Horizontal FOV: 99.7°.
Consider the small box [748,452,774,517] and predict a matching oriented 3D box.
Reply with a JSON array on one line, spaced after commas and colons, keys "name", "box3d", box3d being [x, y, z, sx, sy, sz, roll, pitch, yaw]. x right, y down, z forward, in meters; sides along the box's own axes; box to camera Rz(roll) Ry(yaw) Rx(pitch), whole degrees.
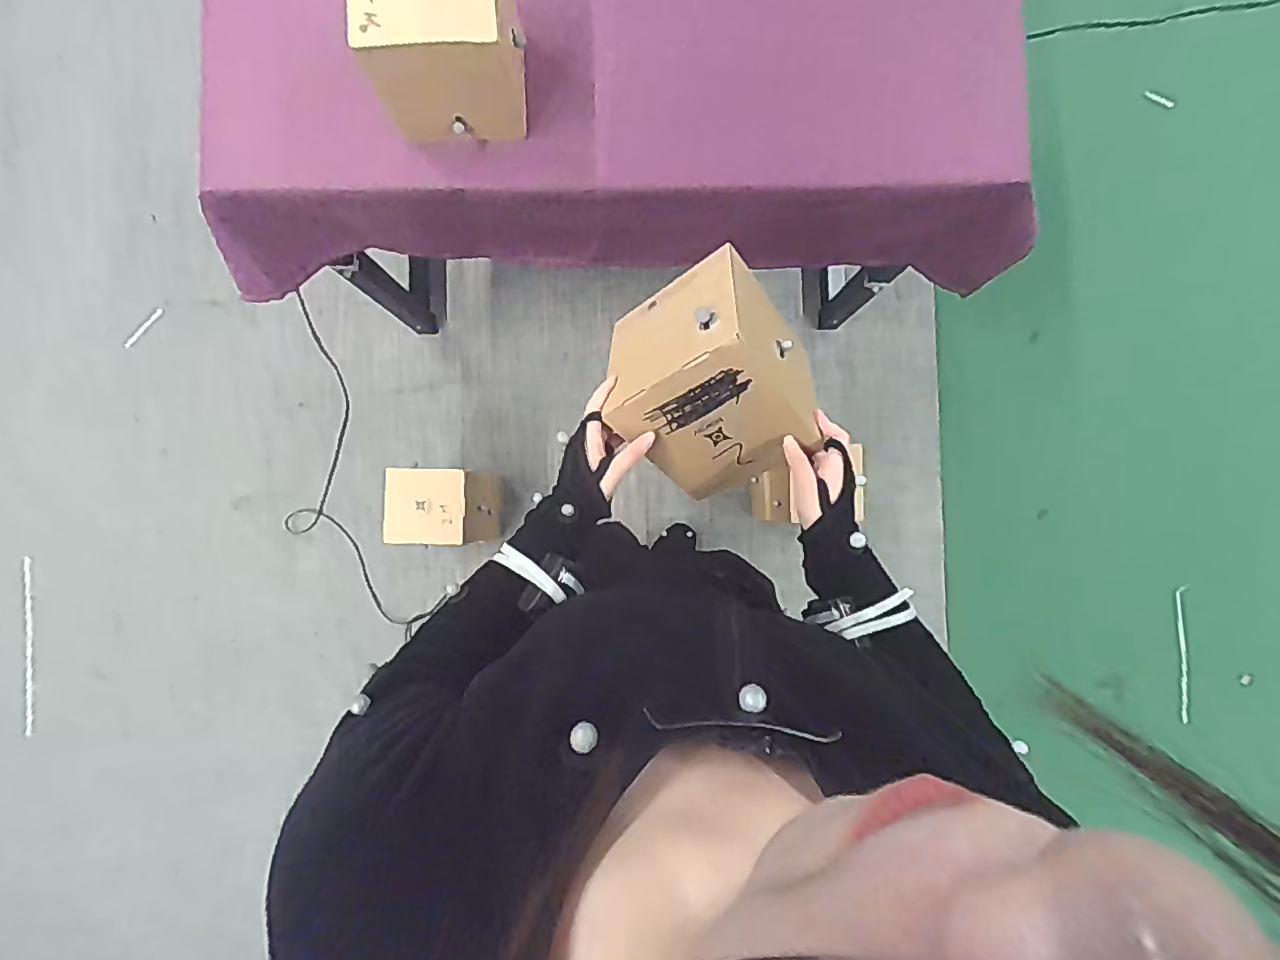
[{"name": "small box", "box3d": [0.388, 0.012, 1.429, 0.179, 0.176, 0.168, -3, 88, -2]}]

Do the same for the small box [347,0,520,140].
[{"name": "small box", "box3d": [-0.256, -0.576, 0.707, 0.179, 0.176, 0.168, -3, 87, -2]}]

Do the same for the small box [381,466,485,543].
[{"name": "small box", "box3d": [-0.470, 0.057, 1.246, 0.179, 0.176, 0.168, 1, 88, -2]}]

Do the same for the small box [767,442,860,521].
[{"name": "small box", "box3d": [0.400, 0.005, 1.266, 0.168, 0.176, 0.179, 0, 88, -3]}]
